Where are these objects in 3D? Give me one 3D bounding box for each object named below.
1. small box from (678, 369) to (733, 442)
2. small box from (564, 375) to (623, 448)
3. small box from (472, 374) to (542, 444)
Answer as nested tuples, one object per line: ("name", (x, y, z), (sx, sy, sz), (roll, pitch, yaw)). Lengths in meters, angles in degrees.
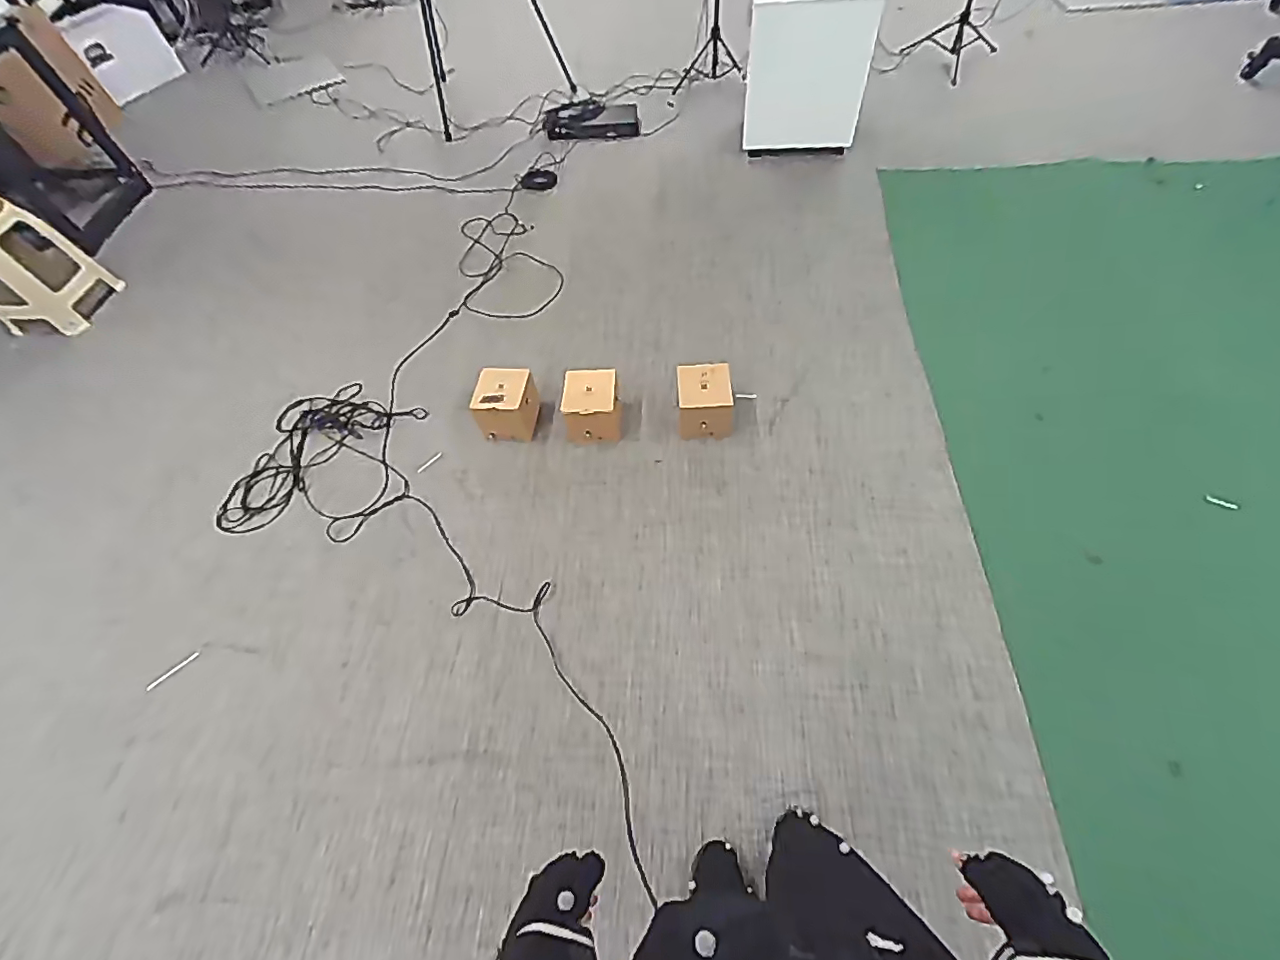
("small box", (0.209, -0.236, 1.760), (0.168, 0.176, 0.179), (-2, 58, 3))
("small box", (-0.149, -0.224, 1.787), (0.168, 0.176, 0.179), (-1, 58, 5))
("small box", (-0.438, -0.236, 1.819), (0.168, 0.176, 0.179), (3, 57, 7))
